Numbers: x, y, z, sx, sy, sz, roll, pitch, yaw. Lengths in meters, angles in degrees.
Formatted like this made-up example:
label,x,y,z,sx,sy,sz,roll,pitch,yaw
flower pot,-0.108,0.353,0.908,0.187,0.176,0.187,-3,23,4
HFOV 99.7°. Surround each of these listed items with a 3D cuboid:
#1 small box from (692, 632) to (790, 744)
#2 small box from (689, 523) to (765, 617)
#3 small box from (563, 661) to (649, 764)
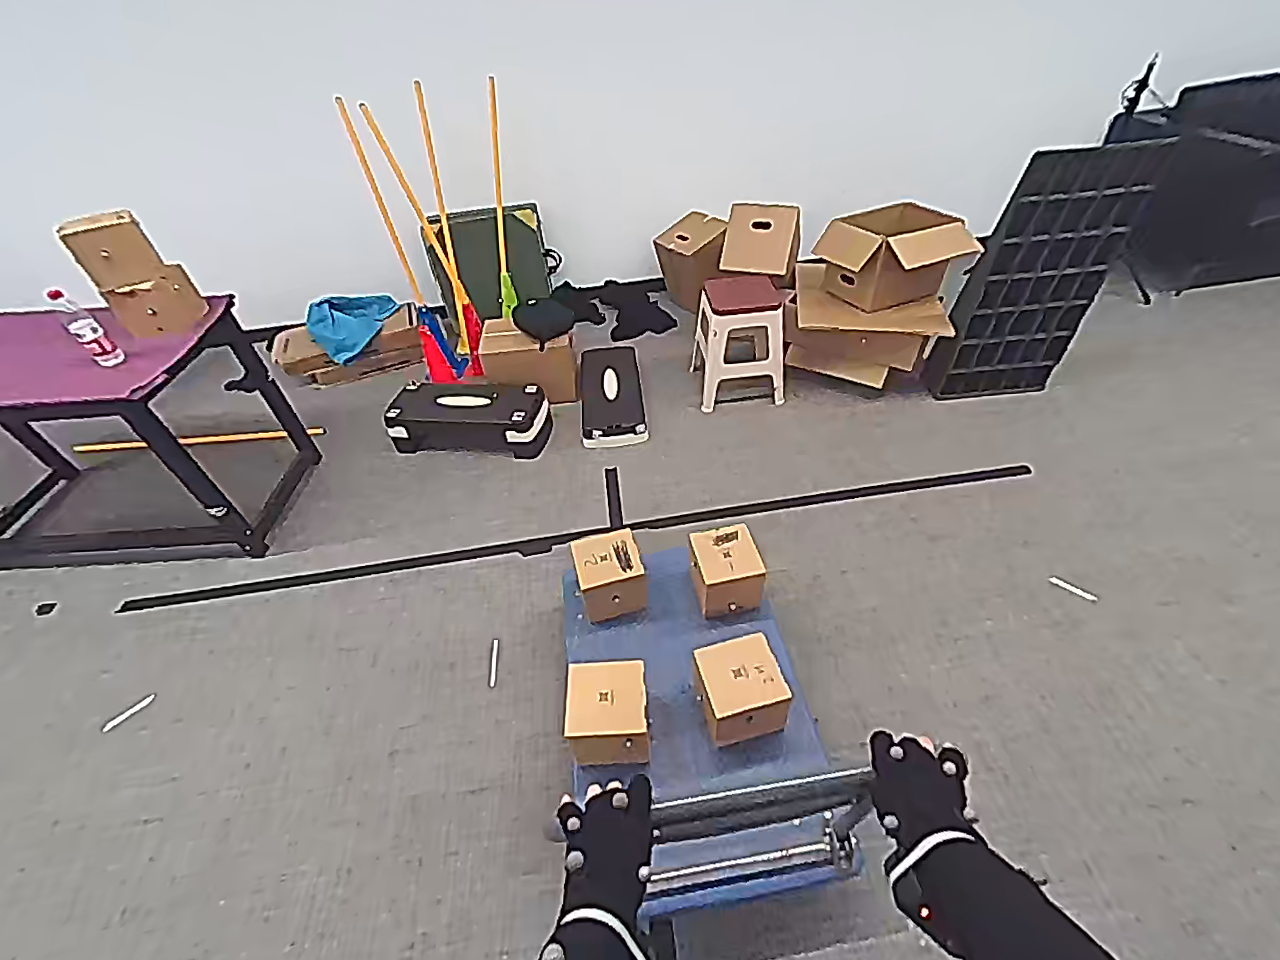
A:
label,x,y,z,sx,sy,sz,roll,pitch,yaw
small box,0.228,0.486,1.254,0.179,0.176,0.168,-13,45,-7
small box,0.232,0.250,1.498,0.168,0.176,0.179,-11,45,-5
small box,-0.072,0.533,1.236,0.179,0.176,0.168,-3,44,0
